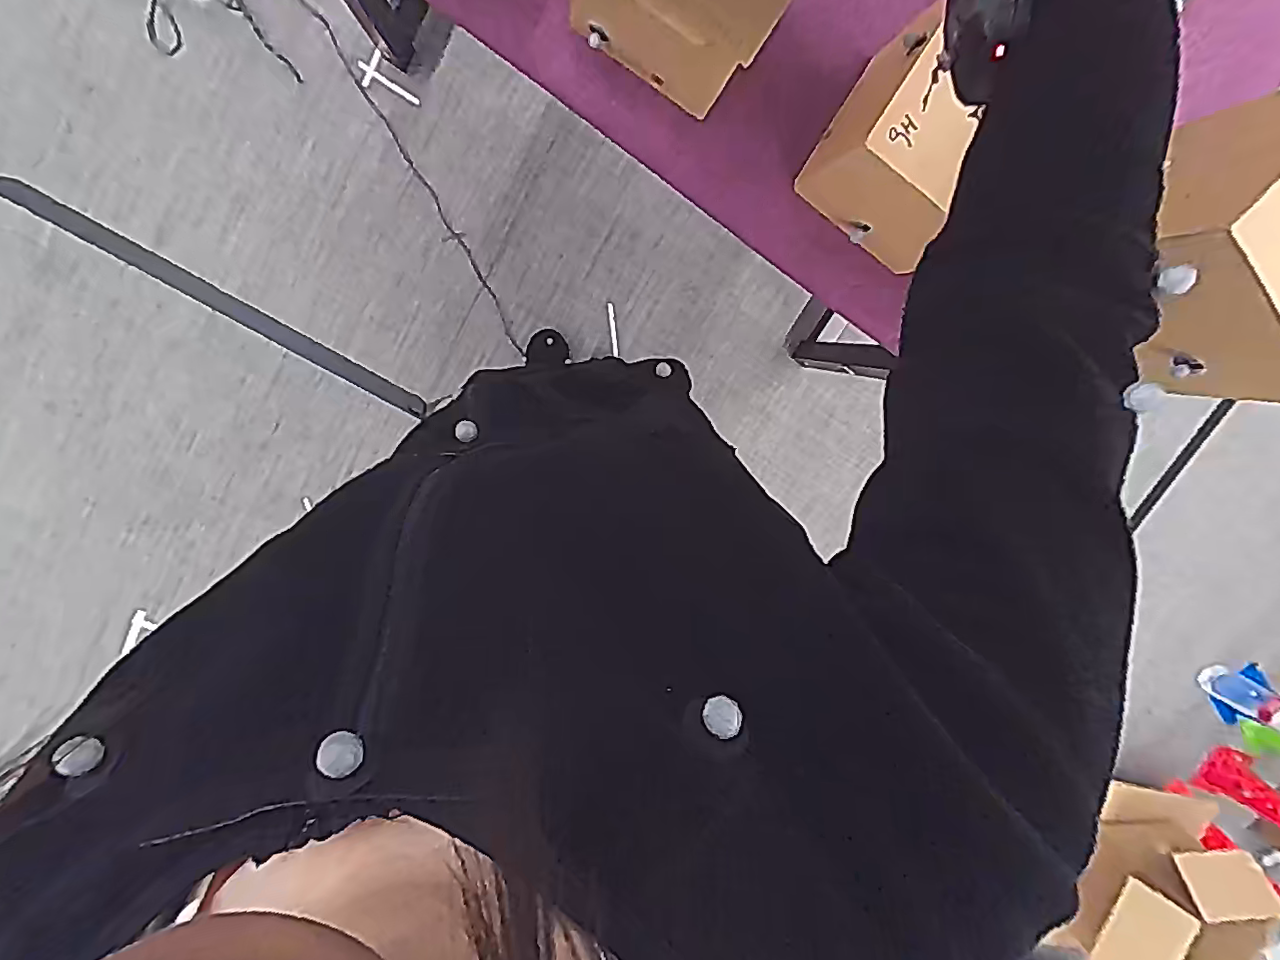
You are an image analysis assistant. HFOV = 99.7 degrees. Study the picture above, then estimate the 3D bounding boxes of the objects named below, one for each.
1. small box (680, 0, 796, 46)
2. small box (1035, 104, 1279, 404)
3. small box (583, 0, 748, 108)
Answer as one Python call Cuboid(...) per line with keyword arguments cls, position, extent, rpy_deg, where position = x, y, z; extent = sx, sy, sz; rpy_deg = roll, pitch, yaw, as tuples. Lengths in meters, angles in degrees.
Cuboid(cls="small box", position=(0.072, -0.425, 0.329), extent=(0.179, 0.176, 0.168), rpy_deg=(30, 101, -15))
Cuboid(cls="small box", position=(0.498, -0.188, 0.456), extent=(0.179, 0.176, 0.168), rpy_deg=(42, 95, -15))
Cuboid(cls="small box", position=(0.054, -0.485, 0.483), extent=(0.168, 0.176, 0.179), rpy_deg=(27, 100, -14))
